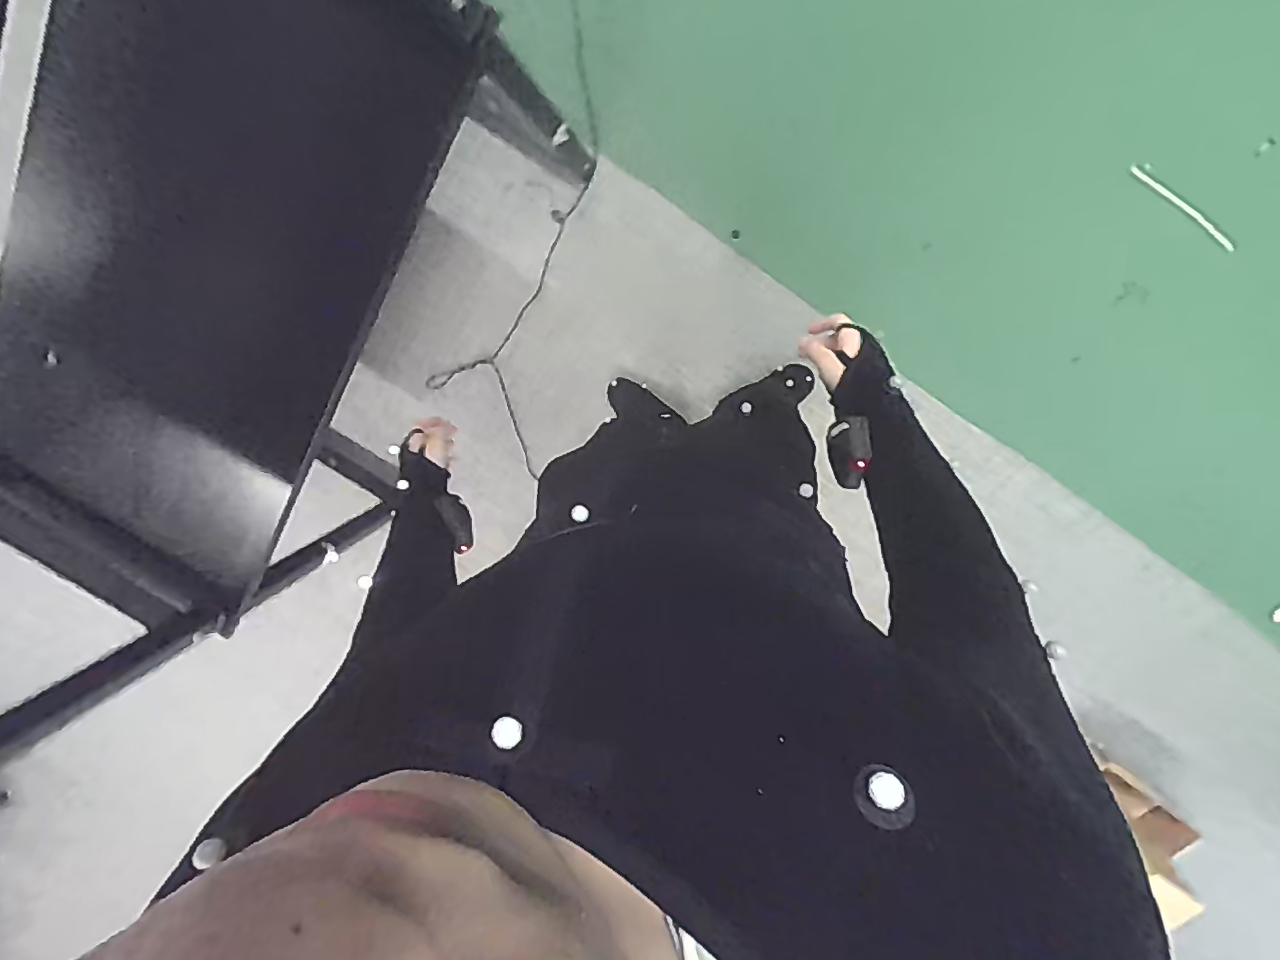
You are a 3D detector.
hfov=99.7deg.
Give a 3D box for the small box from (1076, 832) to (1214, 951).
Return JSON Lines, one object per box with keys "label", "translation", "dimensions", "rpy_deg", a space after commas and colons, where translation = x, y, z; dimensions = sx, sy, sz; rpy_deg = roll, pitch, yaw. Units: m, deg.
{"label": "small box", "translation": [1.349, 1.100, 1.461], "dimensions": [0.179, 0.176, 0.168], "rpy_deg": [33, 109, -3]}
